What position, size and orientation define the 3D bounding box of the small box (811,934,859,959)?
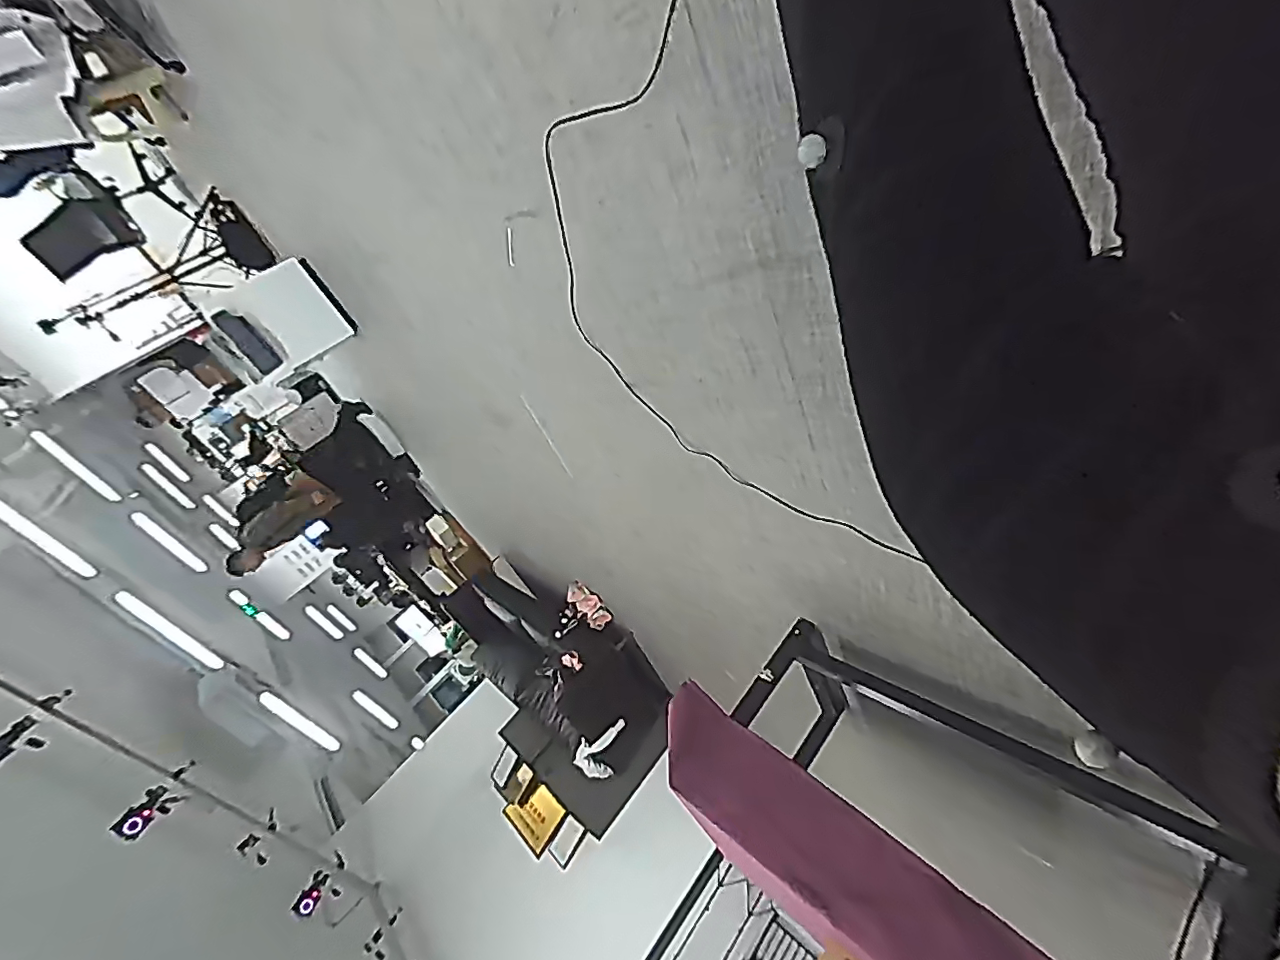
[{"bbox_3d":[0.525,1.316,1.365,0.168,0.176,0.179,7,134,53],"label":"small box"}]
